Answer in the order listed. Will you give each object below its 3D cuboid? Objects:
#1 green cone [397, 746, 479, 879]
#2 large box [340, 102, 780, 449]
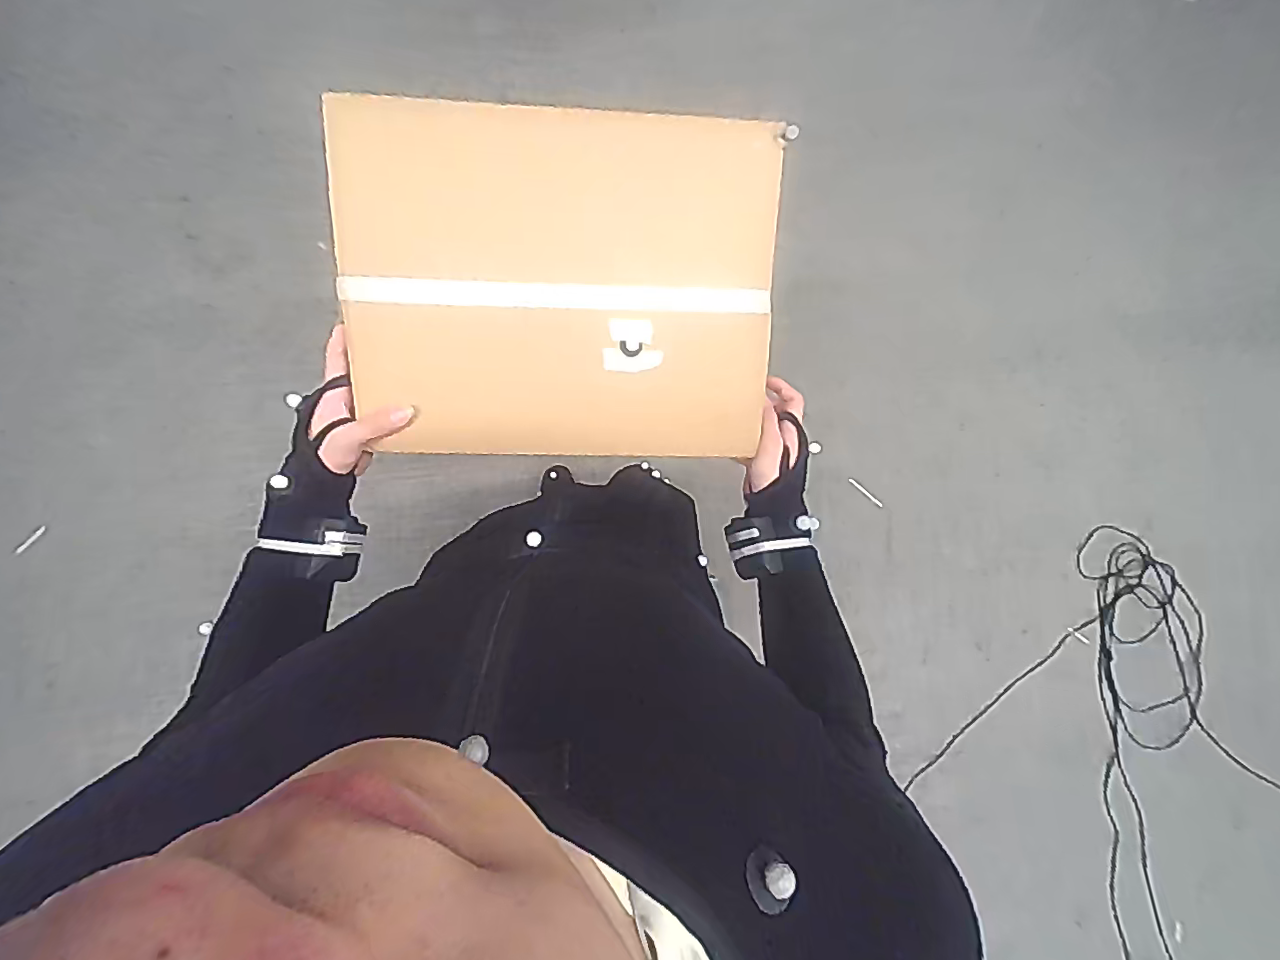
[{"bbox_3d":[-0.563,0.890,1.424,0.200,0.368,0.202,1,92,-5],"label":"green cone"},{"bbox_3d":[-0.081,-0.220,0.667,0.408,0.320,0.320,0,105,-5],"label":"large box"}]
